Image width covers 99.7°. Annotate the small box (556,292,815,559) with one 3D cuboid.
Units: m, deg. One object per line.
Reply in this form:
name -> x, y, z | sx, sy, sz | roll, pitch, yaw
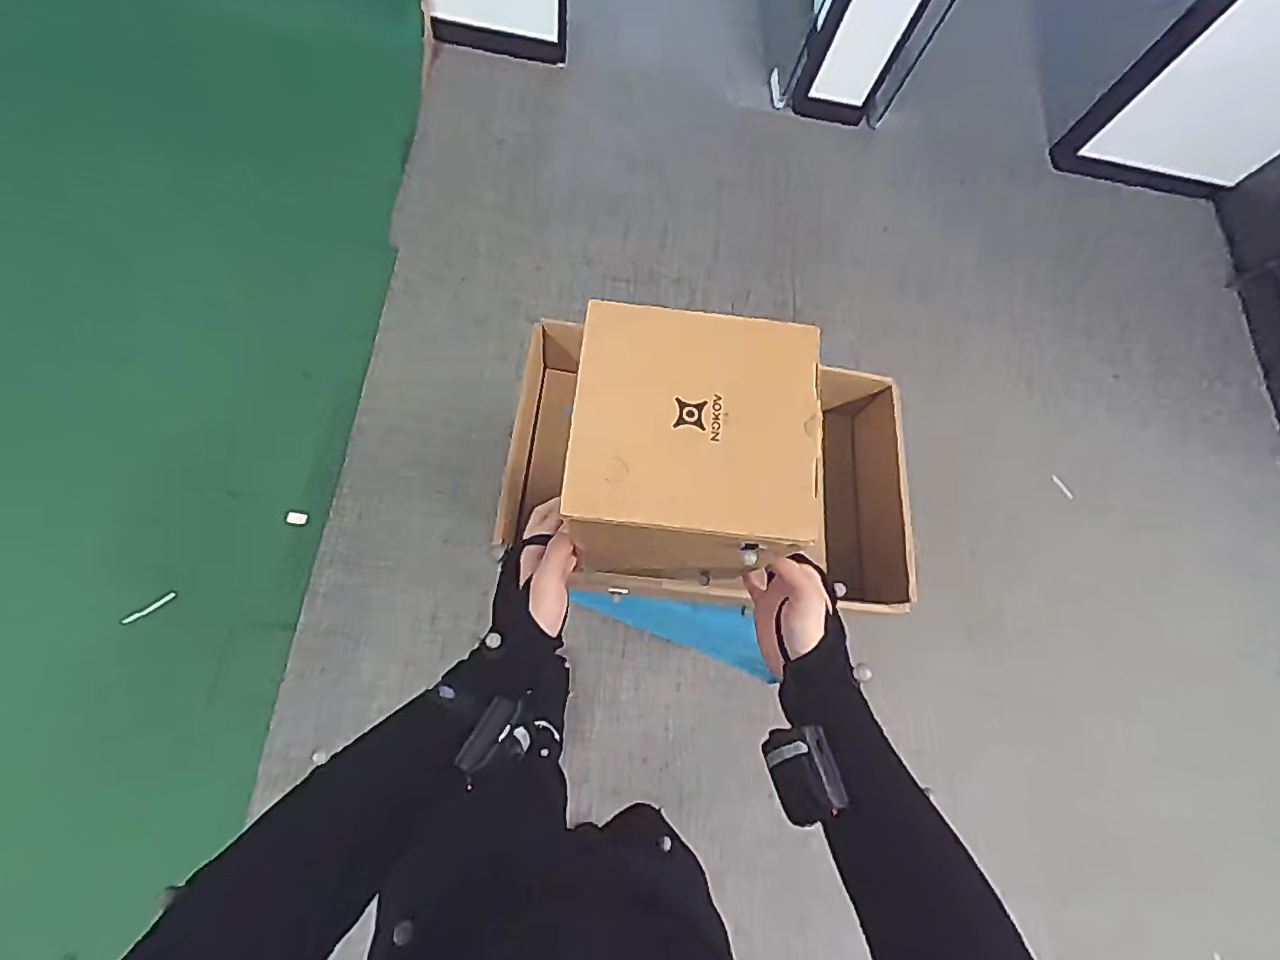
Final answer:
small box -> 0.033, -0.031, 0.456 | 0.179, 0.176, 0.168 | 6, 73, -2
